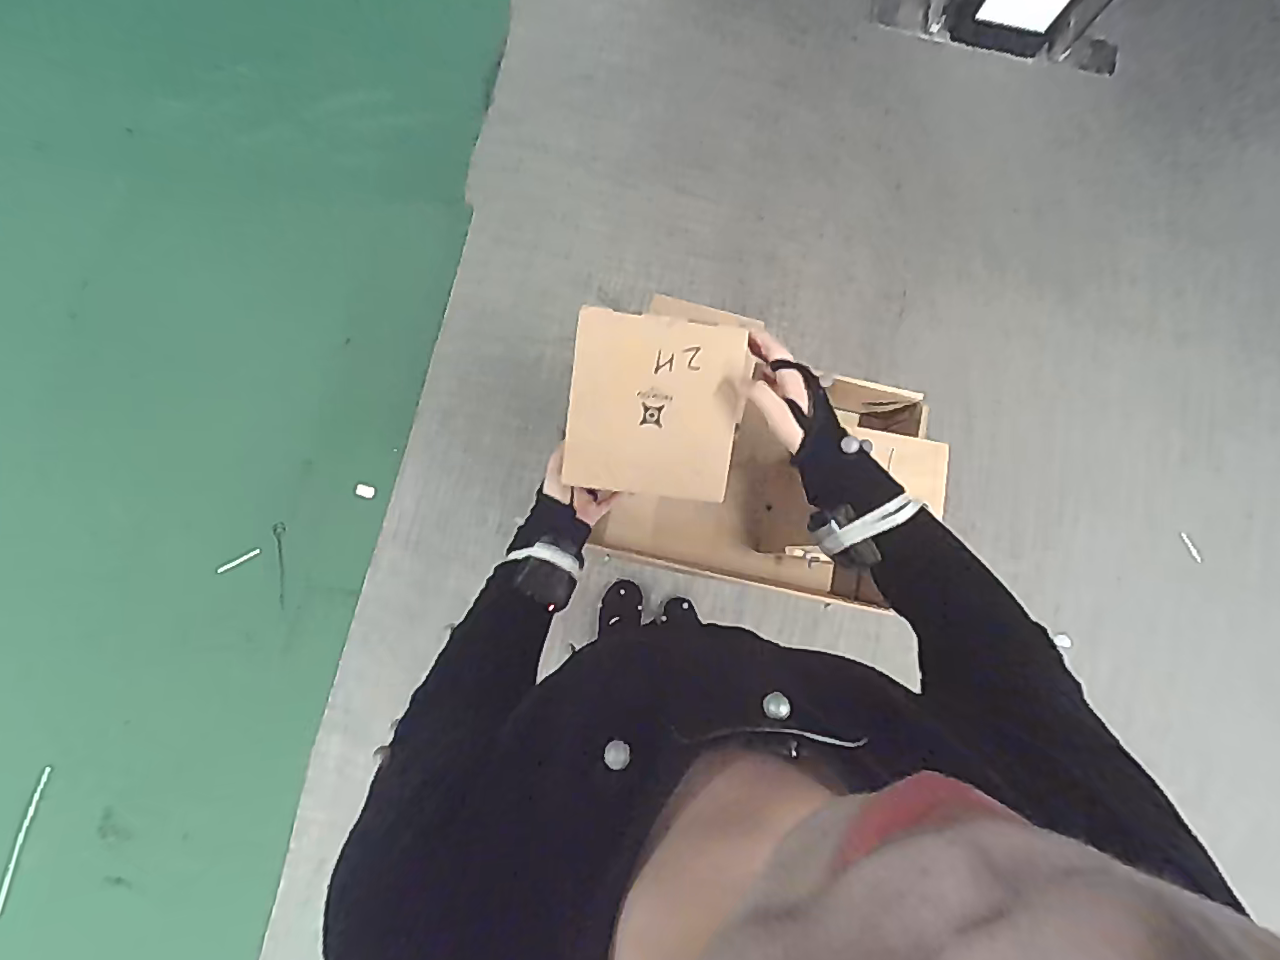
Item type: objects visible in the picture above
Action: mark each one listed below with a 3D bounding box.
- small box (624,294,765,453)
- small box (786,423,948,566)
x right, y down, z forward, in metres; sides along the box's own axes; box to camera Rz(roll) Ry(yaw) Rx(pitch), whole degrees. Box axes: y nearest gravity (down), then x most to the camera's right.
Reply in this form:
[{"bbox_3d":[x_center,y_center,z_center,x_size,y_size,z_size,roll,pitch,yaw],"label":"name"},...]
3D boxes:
[{"bbox_3d":[0.076,-0.152,0.838,0.168,0.176,0.179,15,82,-1],"label":"small box"},{"bbox_3d":[0.333,0.028,0.824,0.168,0.176,0.179,10,82,-2],"label":"small box"}]
